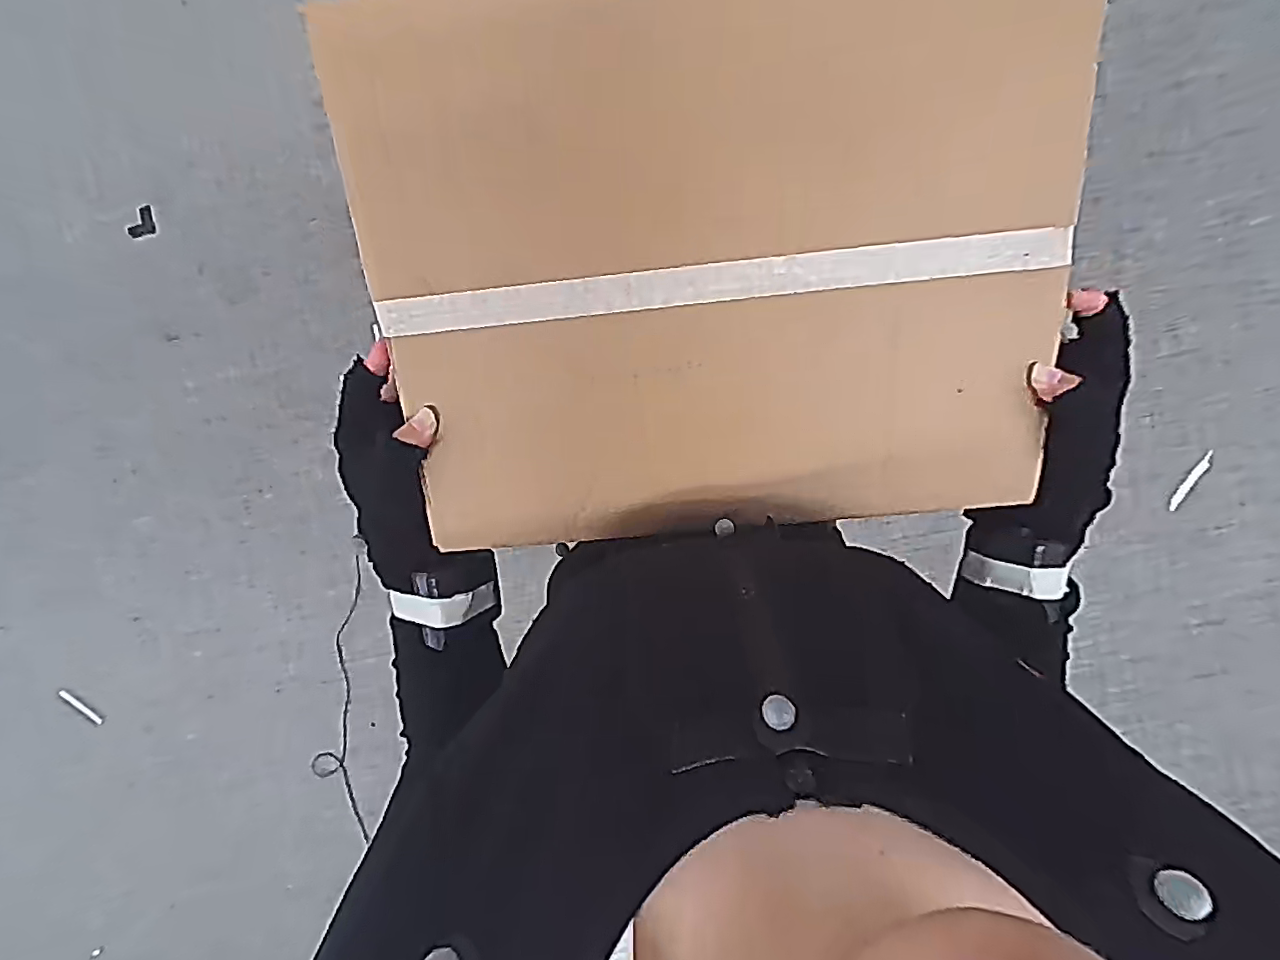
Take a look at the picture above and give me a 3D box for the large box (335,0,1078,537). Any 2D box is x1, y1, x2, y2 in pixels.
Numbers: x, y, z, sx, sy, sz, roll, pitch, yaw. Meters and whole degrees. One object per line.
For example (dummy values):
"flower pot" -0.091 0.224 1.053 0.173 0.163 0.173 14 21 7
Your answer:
"large box" 0.044 -0.168 0.470 0.408 0.320 0.320 -5 109 2
